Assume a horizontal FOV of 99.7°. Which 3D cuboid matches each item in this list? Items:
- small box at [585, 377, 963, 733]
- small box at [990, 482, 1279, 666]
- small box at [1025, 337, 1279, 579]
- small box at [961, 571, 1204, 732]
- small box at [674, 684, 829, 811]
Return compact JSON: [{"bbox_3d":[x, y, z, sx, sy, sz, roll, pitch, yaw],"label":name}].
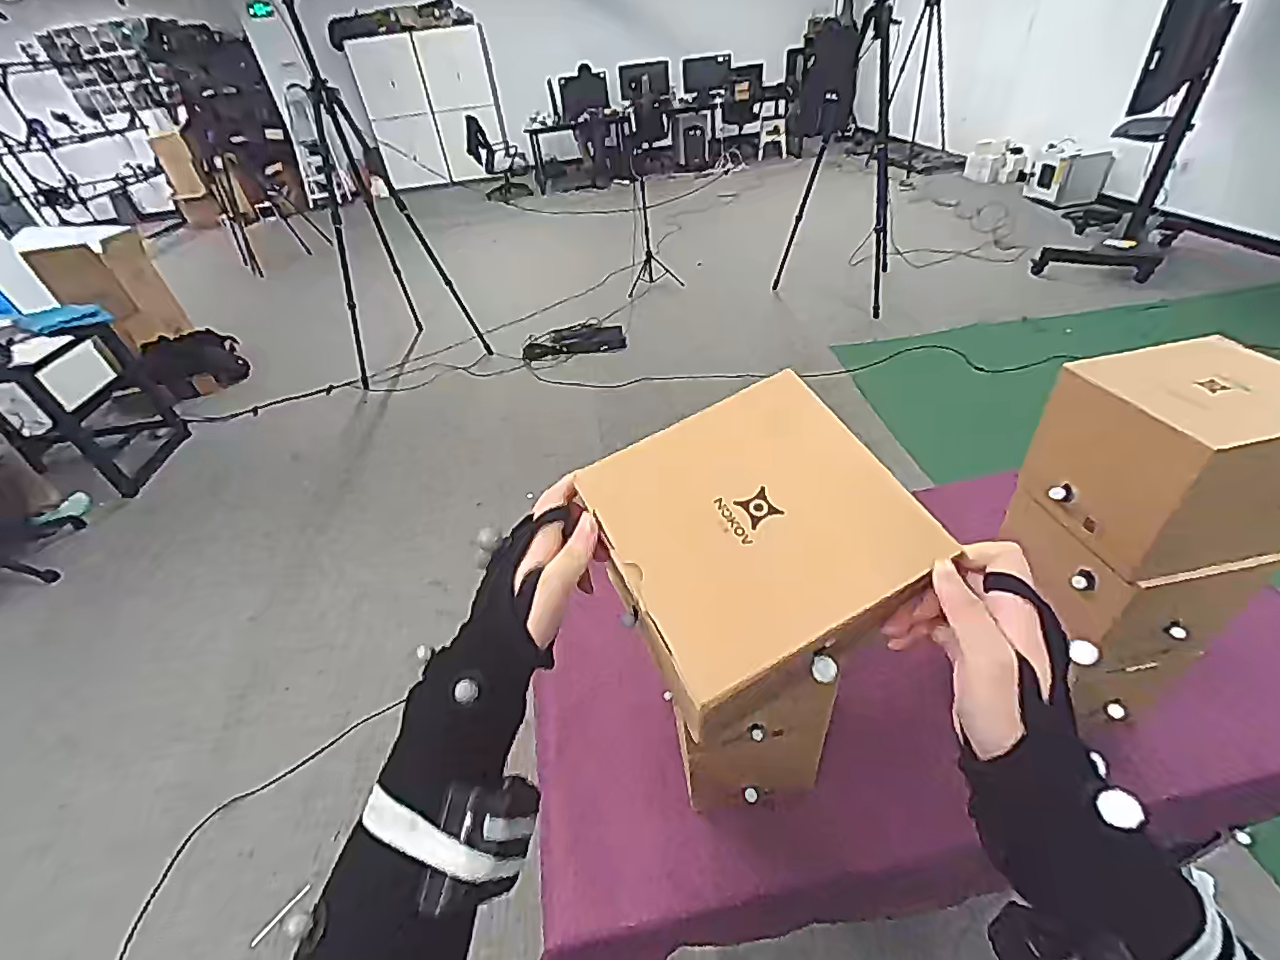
[{"bbox_3d":[0.081,0.063,0.400,0.179,0.176,0.168,-27,60,-8],"label":"small box"},{"bbox_3d":[0.573,0.105,0.654,0.168,0.176,0.179,-10,39,-3],"label":"small box"},{"bbox_3d":[0.550,-0.023,0.555,0.179,0.176,0.168,-11,38,-2],"label":"small box"},{"bbox_3d":[0.595,0.231,0.759,0.168,0.176,0.179,-10,40,-3],"label":"small box"},{"bbox_3d":[0.137,0.316,0.737,0.168,0.176,0.179,-9,40,-1],"label":"small box"}]
